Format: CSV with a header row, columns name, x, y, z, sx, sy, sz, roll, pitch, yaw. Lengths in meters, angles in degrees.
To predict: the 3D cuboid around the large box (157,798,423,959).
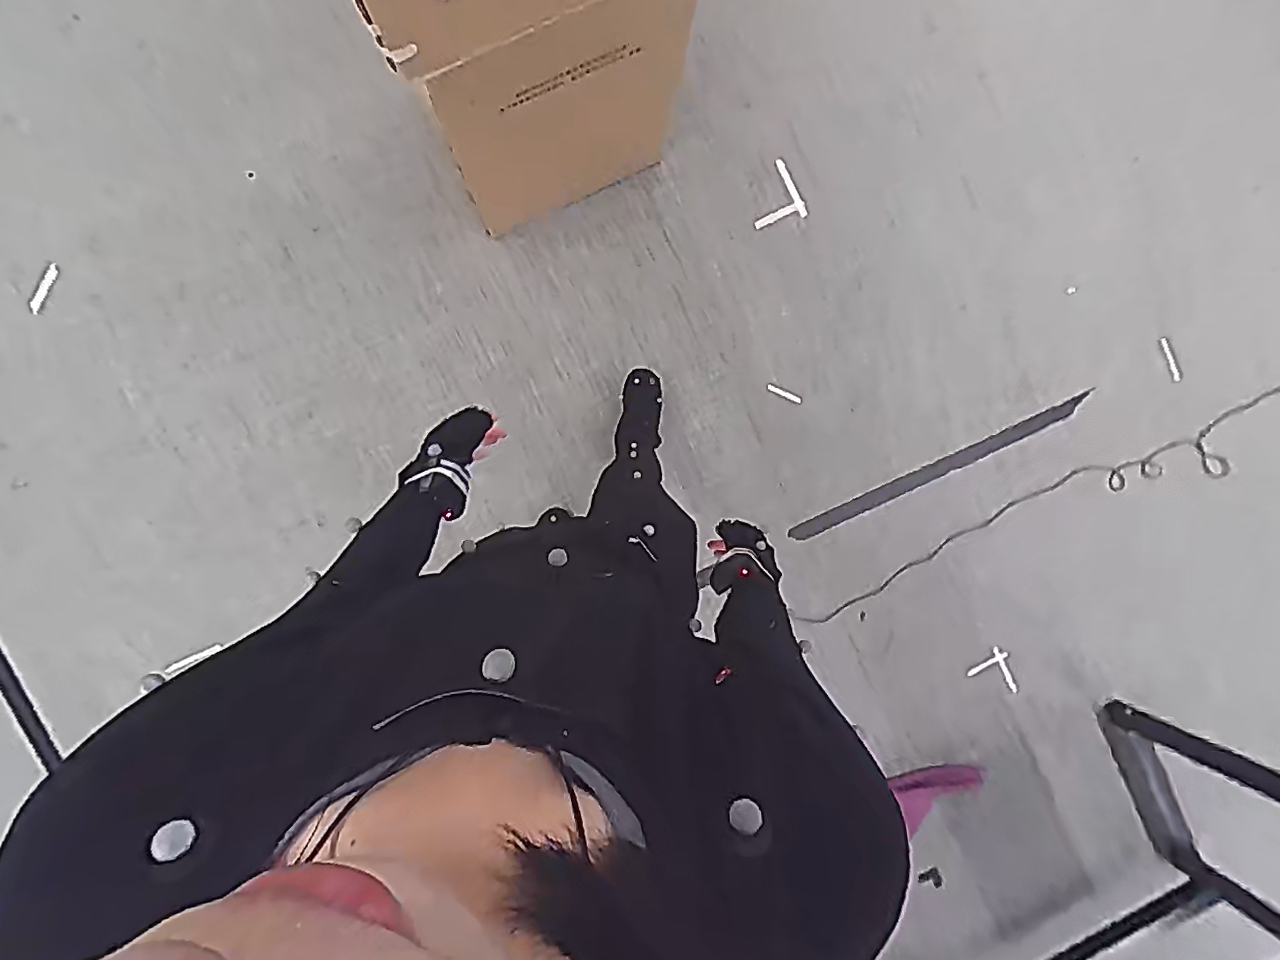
name,x,y,z,sx,sy,sz,roll,pitch,yaw
large box,-0.801,1.096,1.306,0.320,0.320,0.408,-30,93,-5
